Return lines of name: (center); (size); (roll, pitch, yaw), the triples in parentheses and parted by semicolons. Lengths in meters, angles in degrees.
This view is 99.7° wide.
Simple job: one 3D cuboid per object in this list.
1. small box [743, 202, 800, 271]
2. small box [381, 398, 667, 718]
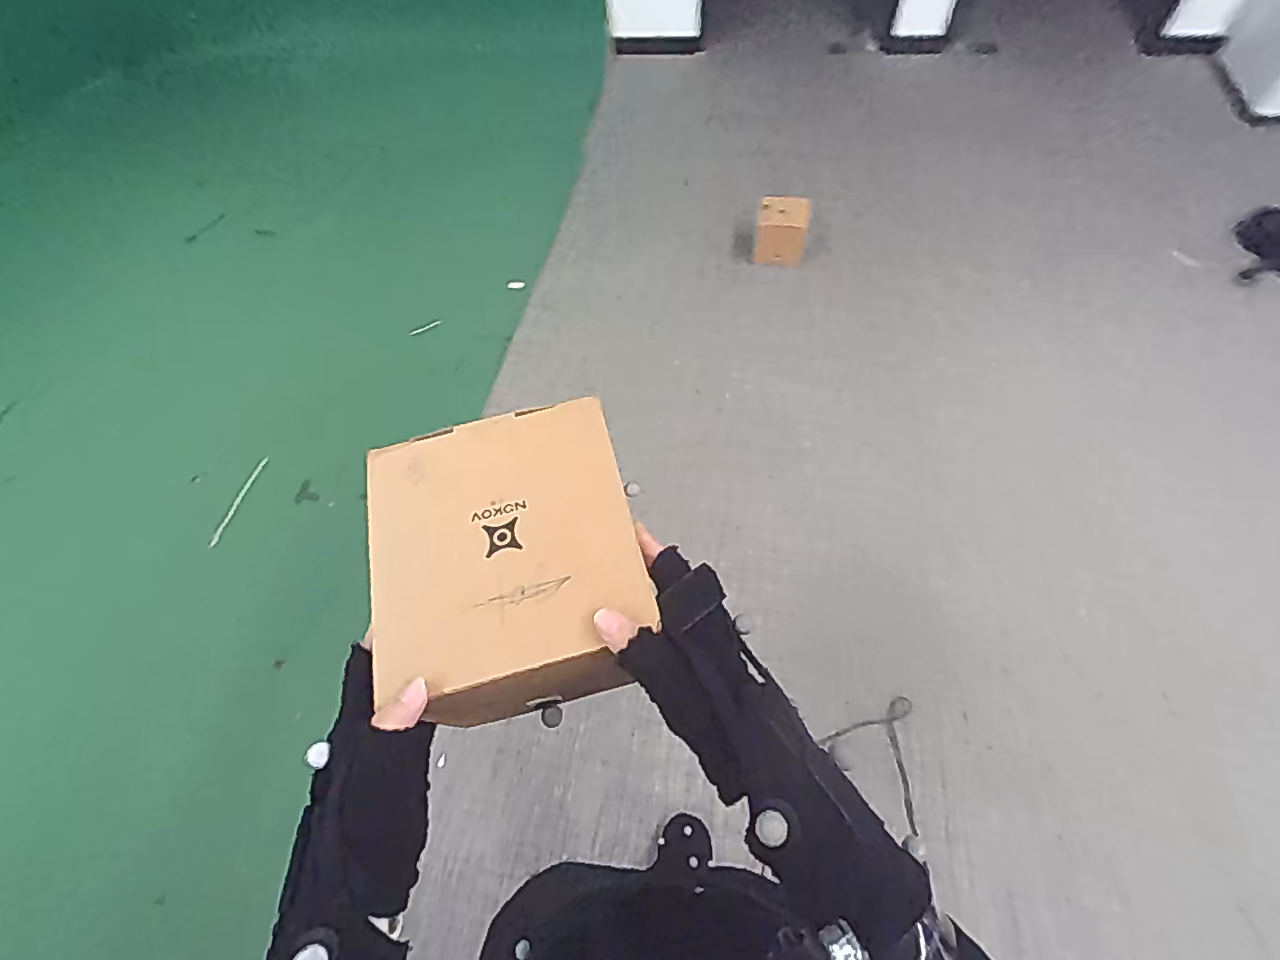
small box: (0.487, -0.902, 2.013); (0.179, 0.176, 0.168); (9, 61, 9)
small box: (-0.080, 0.068, 0.417); (0.168, 0.176, 0.179); (-14, 63, -4)
